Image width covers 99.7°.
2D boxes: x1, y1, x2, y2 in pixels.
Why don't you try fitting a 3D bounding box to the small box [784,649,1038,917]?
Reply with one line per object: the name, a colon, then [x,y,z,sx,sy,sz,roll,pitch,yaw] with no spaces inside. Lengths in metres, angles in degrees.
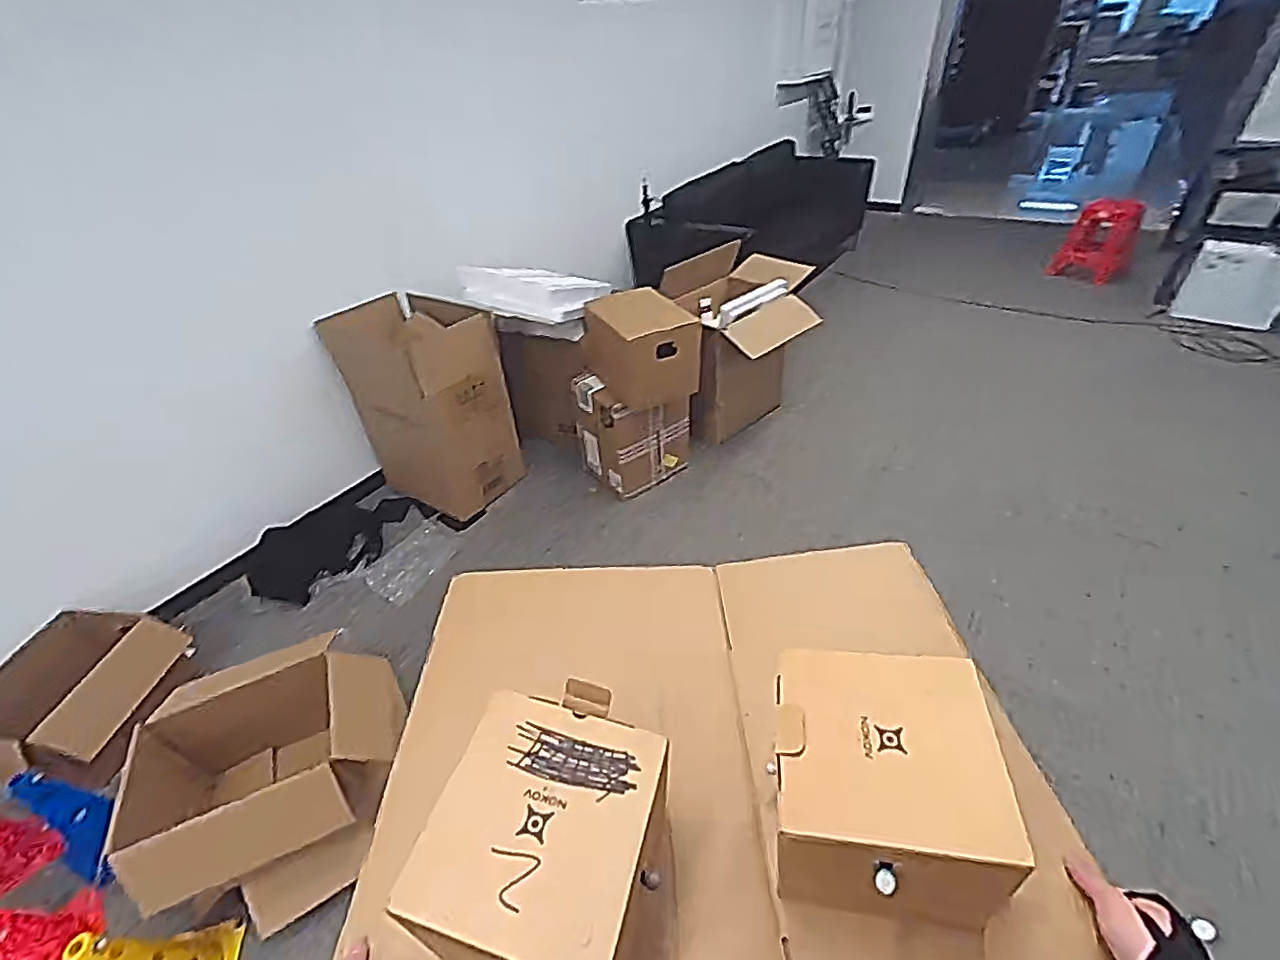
small box: [0.229,0.284,0.513,0.179,0.176,0.168,-1,40,15]
